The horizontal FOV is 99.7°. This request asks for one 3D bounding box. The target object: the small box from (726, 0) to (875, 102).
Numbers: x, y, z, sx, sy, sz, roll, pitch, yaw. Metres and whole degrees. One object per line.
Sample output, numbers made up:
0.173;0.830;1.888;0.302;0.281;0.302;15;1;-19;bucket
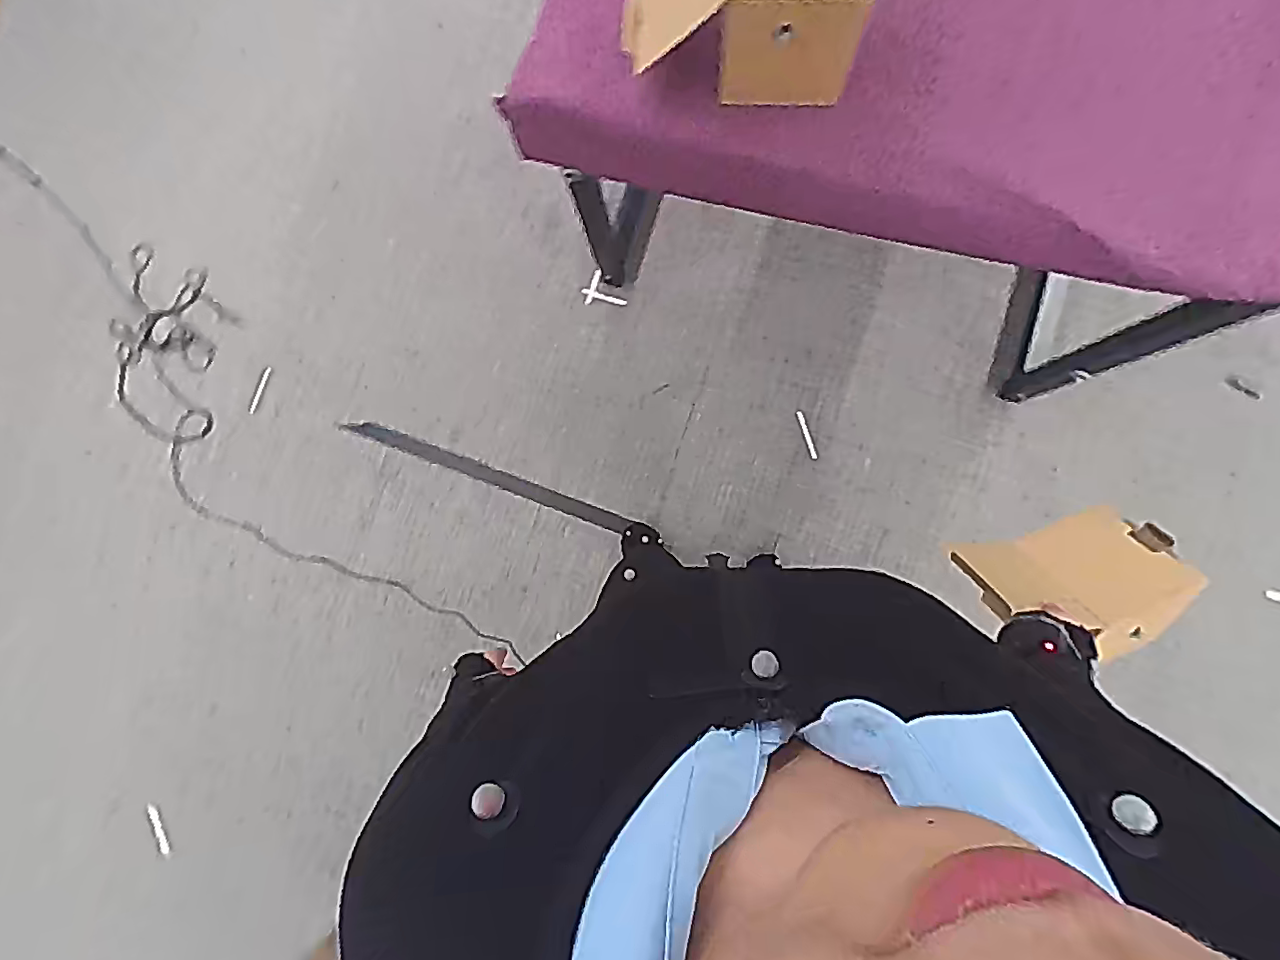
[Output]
0.212;-0.646;0.726;0.179;0.176;0.168;6;86;5;small box
